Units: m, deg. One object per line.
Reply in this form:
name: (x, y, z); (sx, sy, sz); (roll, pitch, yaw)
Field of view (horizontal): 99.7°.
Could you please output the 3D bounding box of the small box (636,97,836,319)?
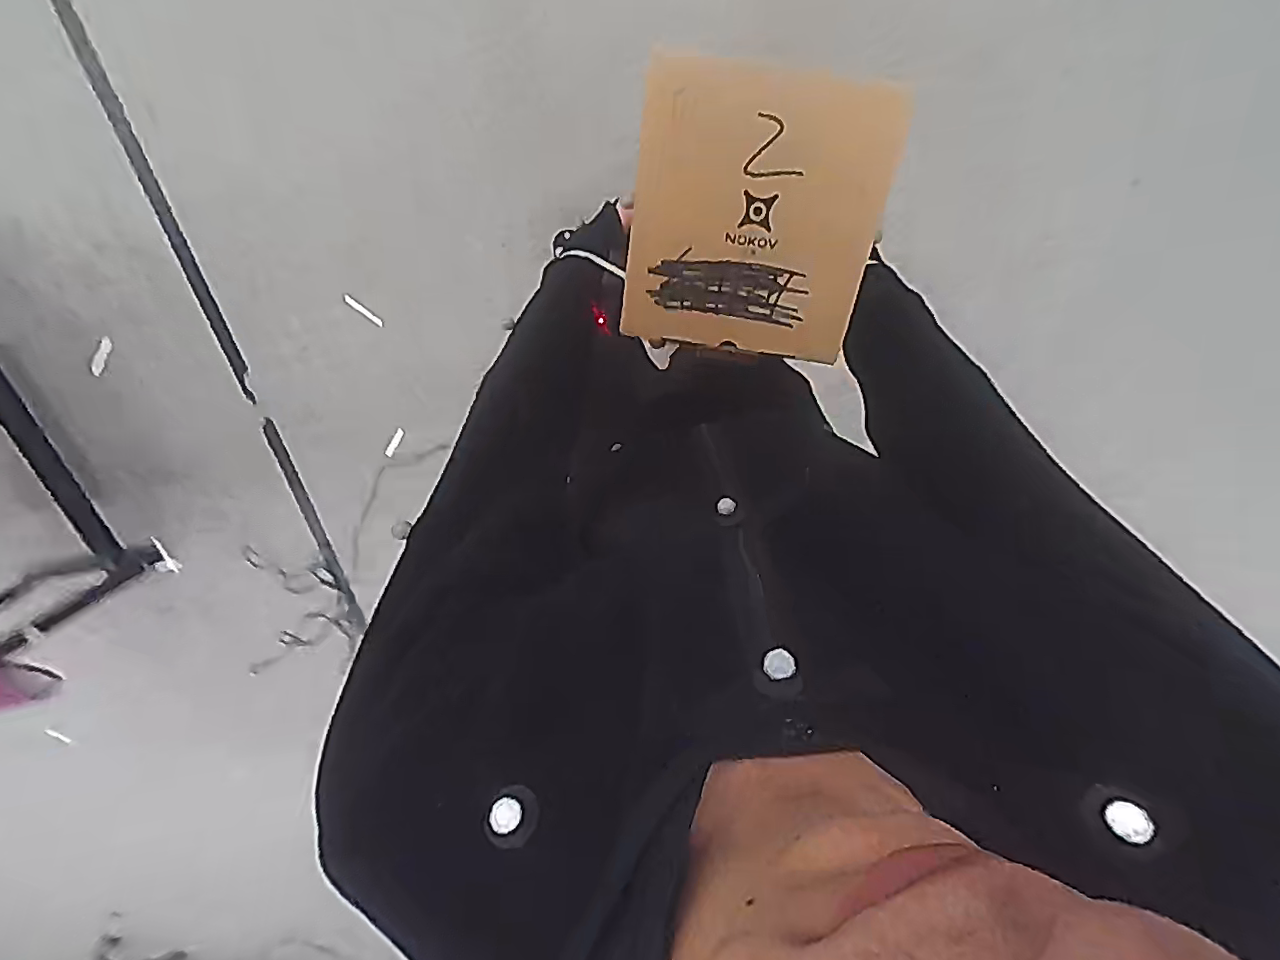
small box: (0.087, -0.284, 0.576); (0.168, 0.176, 0.179); (6, 119, 1)
